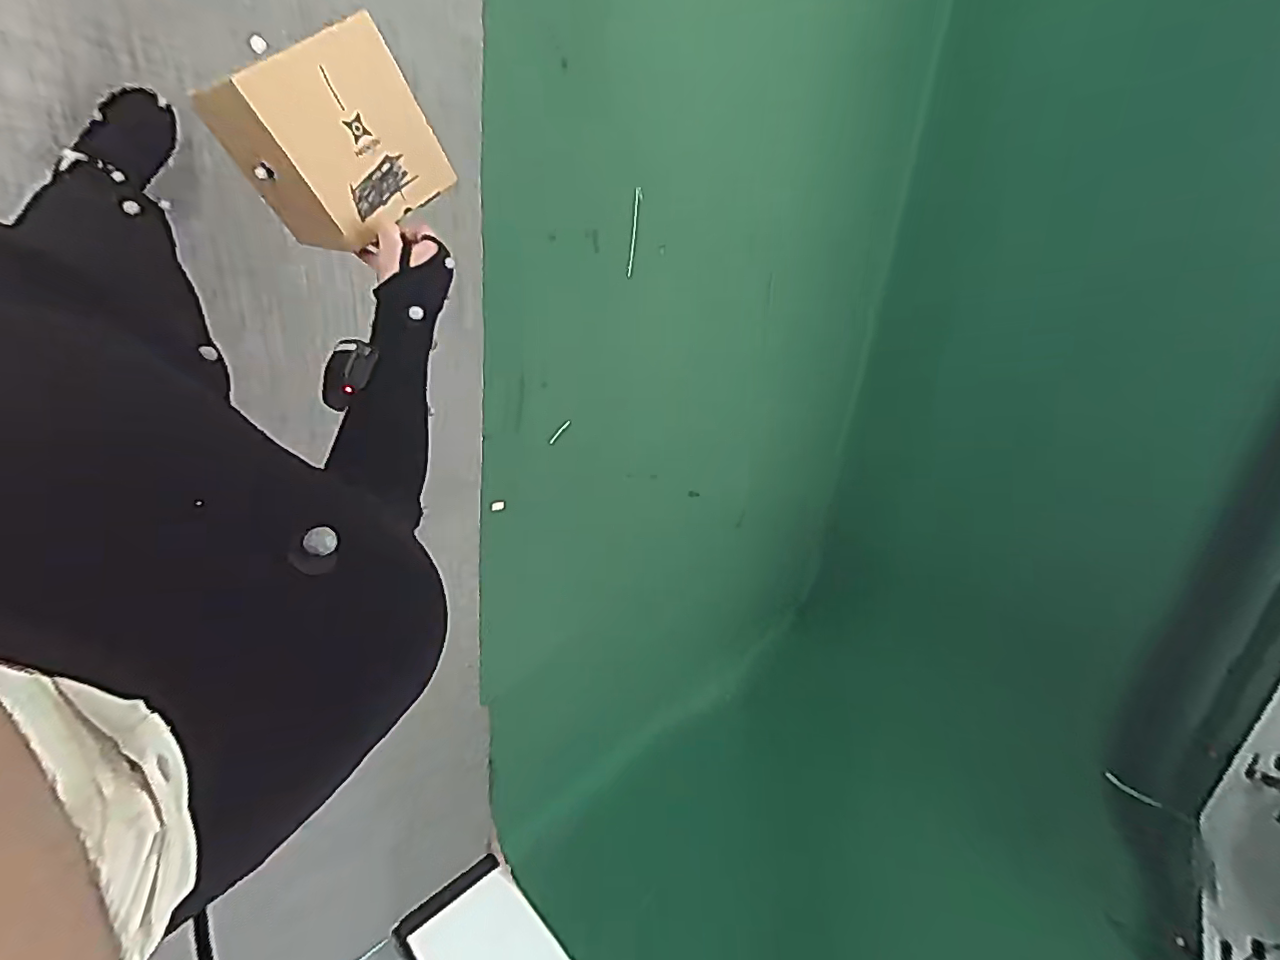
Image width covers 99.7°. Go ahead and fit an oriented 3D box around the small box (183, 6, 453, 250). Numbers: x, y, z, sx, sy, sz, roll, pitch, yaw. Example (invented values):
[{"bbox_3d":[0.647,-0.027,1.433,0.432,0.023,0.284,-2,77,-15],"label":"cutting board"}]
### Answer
[{"bbox_3d":[-0.361,-0.393,0.621,0.168,0.176,0.179,-51,141,-22],"label":"small box"}]
